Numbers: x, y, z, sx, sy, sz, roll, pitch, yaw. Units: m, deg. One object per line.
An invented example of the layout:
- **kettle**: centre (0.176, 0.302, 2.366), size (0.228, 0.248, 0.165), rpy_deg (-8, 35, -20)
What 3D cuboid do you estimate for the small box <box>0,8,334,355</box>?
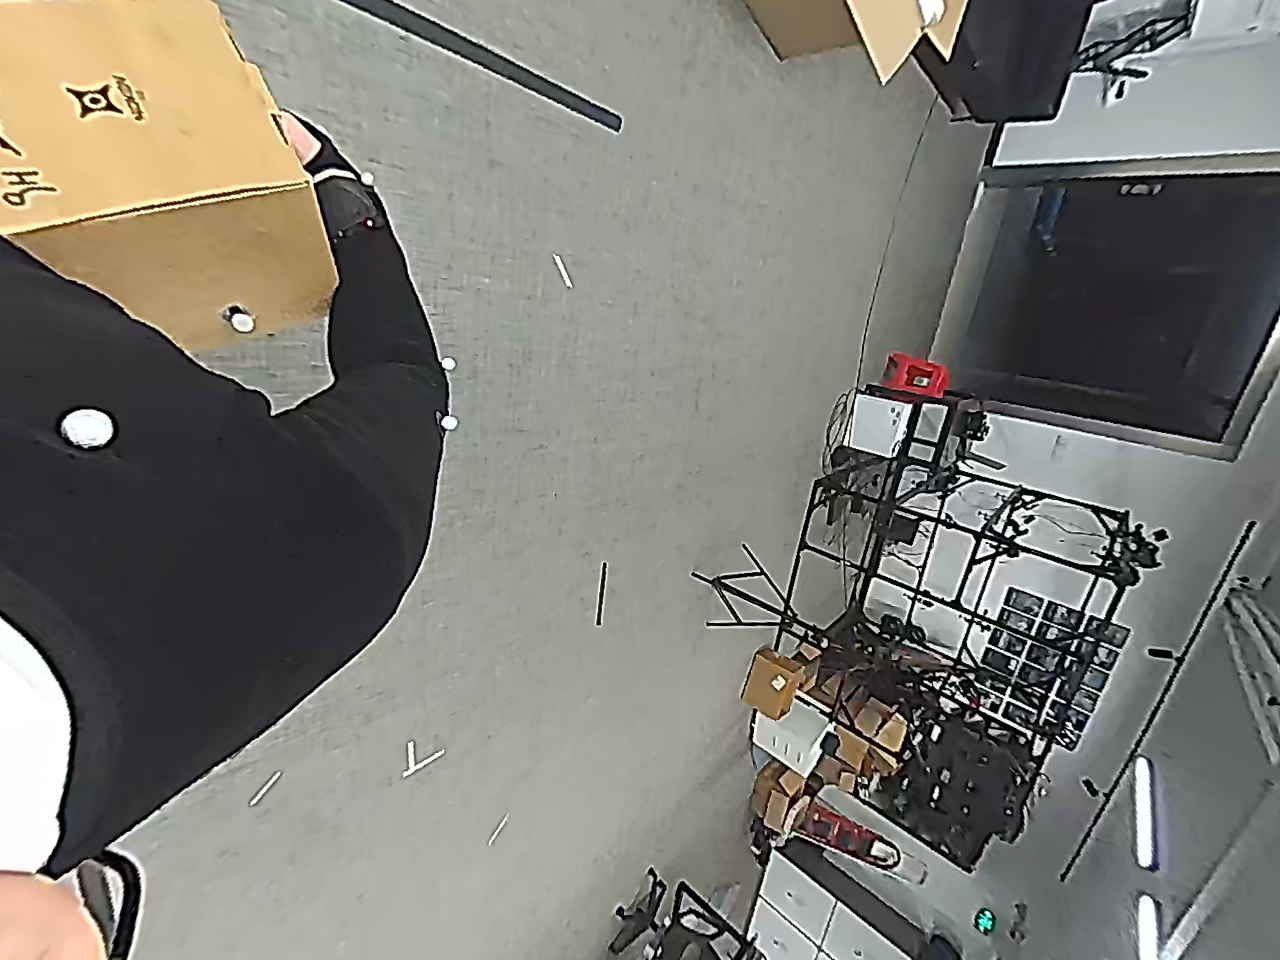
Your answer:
- **small box**: centre (-0.374, -0.230, 0.440), size (0.179, 0.176, 0.168), rpy_deg (-27, 84, -25)
